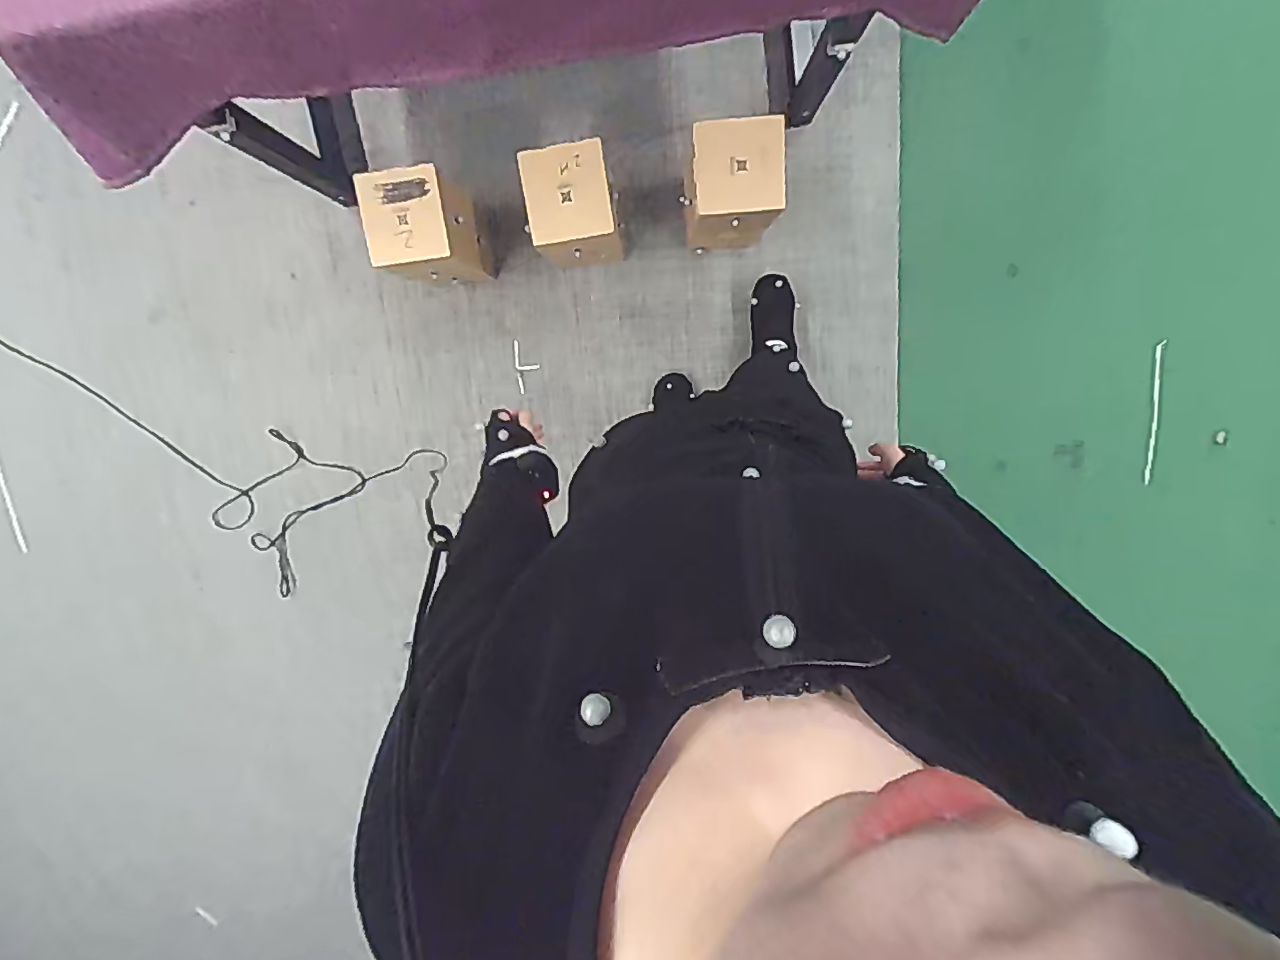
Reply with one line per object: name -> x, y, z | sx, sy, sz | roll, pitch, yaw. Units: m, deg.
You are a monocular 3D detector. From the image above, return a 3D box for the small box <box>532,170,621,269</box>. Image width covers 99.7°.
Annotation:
small box -> -0.145, -0.615, 1.296 | 0.179, 0.176, 0.168 | -7, 101, 3
